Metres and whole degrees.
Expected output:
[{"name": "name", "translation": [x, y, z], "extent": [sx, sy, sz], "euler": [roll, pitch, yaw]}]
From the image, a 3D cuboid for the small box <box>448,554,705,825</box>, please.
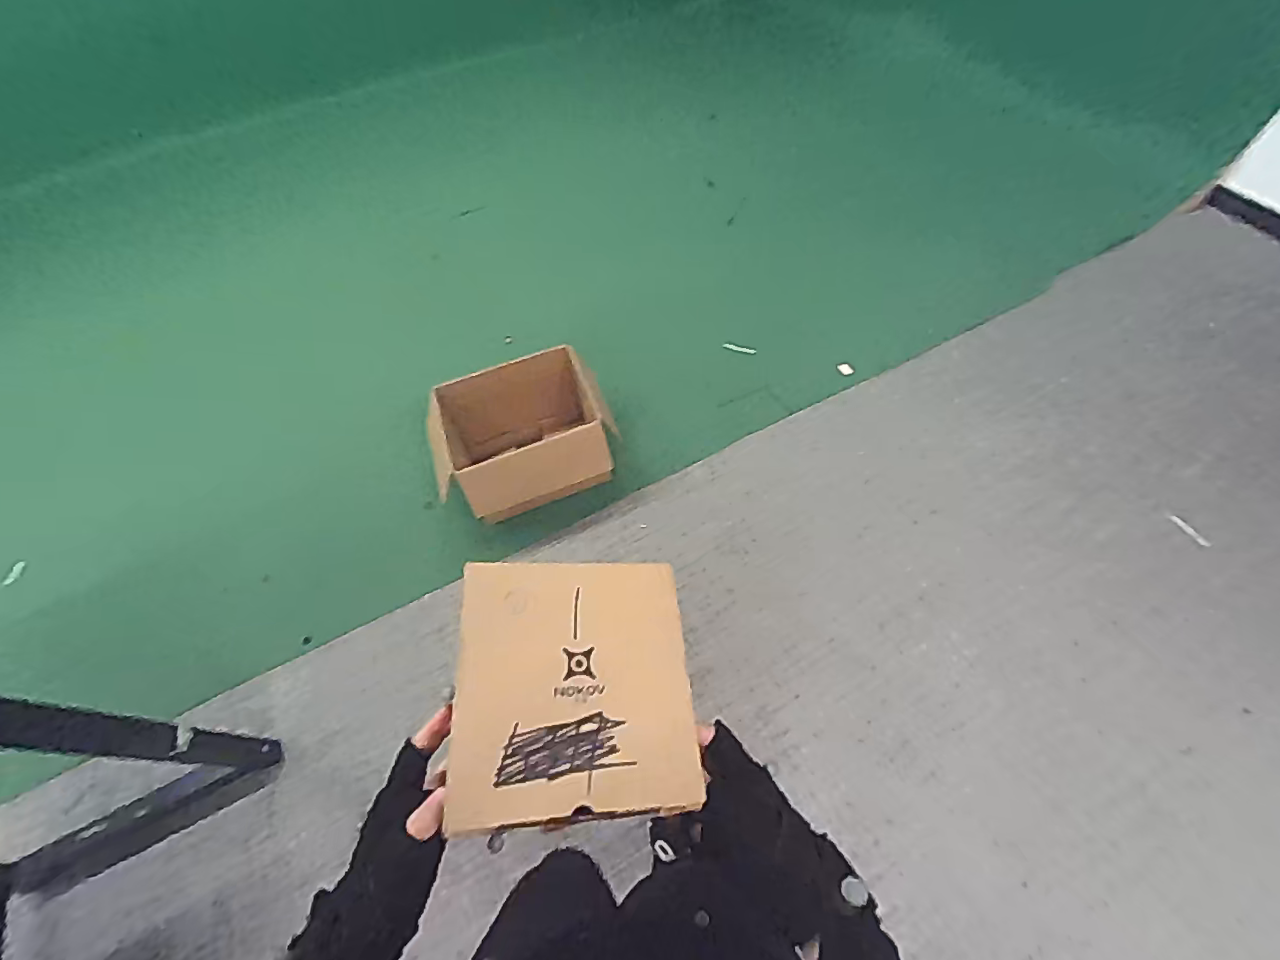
[{"name": "small box", "translation": [-0.060, 0.176, 0.448], "extent": [0.168, 0.176, 0.179], "euler": [3, 56, -15]}]
